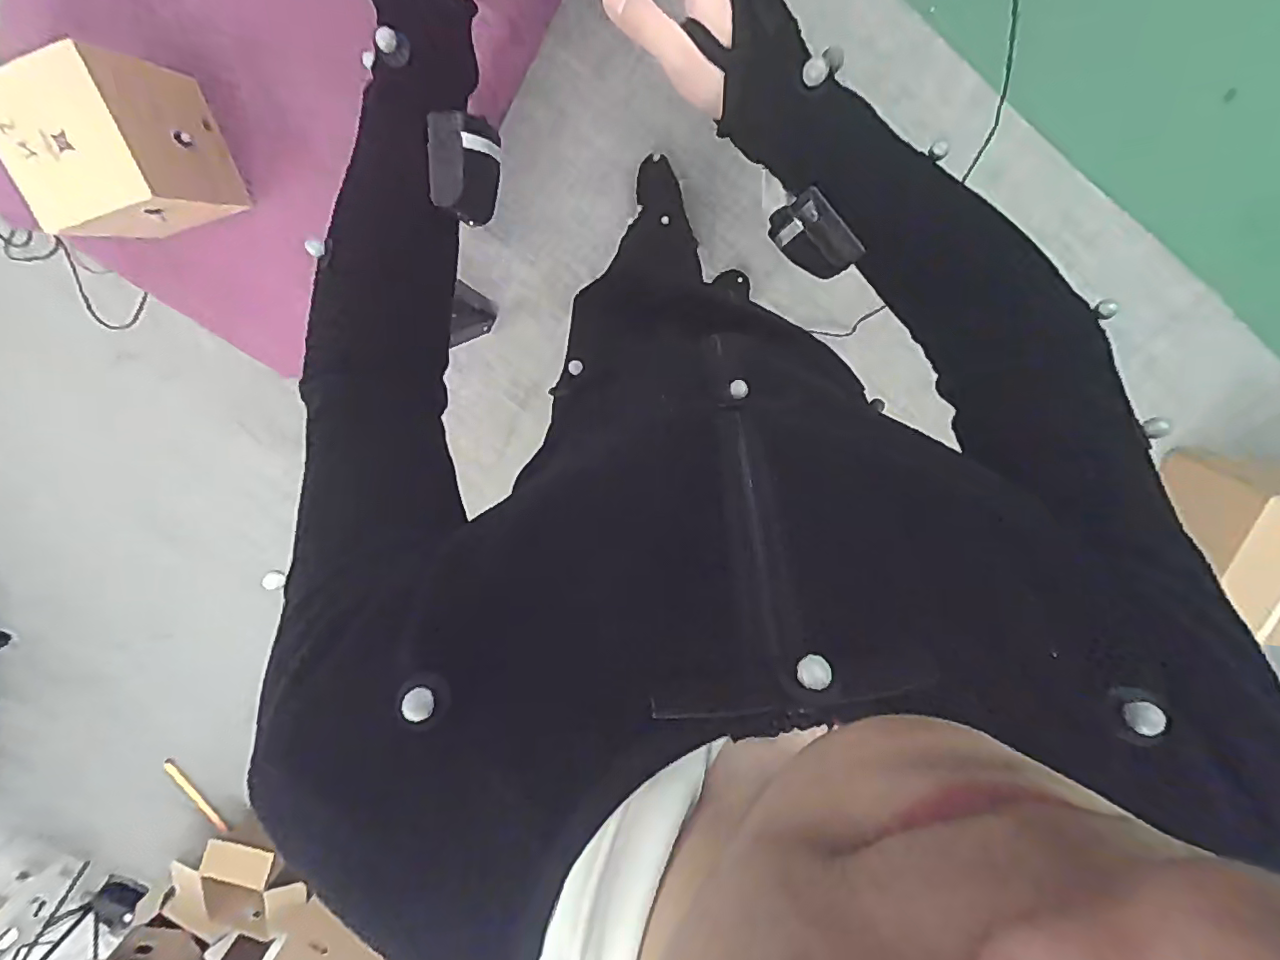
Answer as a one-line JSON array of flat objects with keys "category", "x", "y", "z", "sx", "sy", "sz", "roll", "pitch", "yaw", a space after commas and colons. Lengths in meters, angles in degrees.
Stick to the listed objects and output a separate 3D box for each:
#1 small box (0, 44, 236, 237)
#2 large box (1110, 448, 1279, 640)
[{"category": "small box", "x": -0.686, "y": -0.429, "z": 0.714, "sx": 0.179, "sy": 0.176, "sz": 0.168, "roll": -10, "pitch": 111, "yaw": 10}, {"category": "large box", "x": 1.587, "y": 0.163, "z": 1.448, "sx": 0.320, "sy": 0.320, "sz": 0.408, "roll": 5, "pitch": 113, "yaw": 3}]
